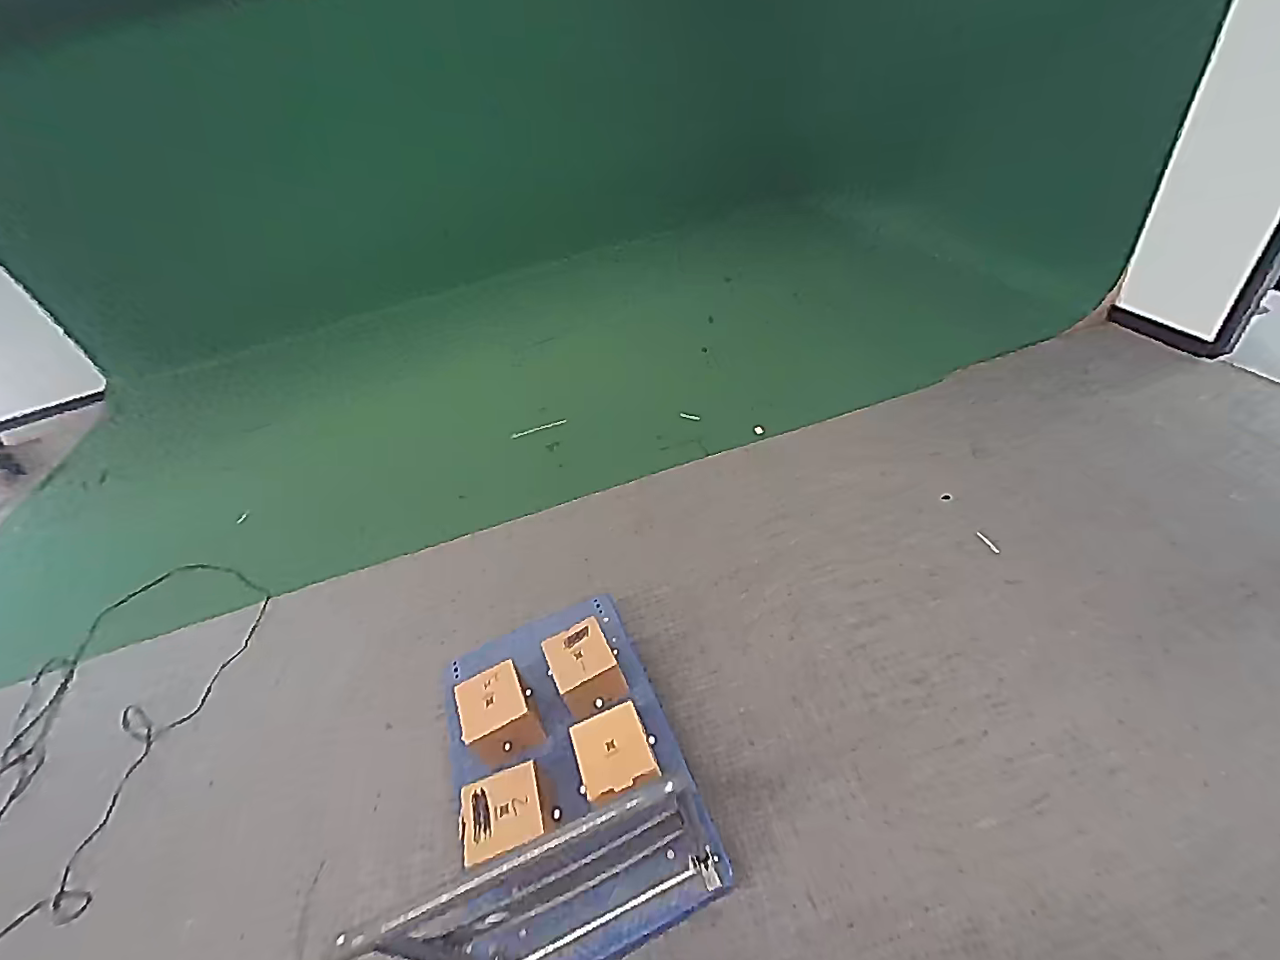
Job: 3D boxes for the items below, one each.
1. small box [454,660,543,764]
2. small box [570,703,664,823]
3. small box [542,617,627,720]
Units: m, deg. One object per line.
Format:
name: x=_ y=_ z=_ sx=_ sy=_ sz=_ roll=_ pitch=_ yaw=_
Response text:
small box: x=-0.376 y=0.627 z=1.446 sx=0.168 sy=0.176 sz=0.179 roll=-24 pitch=42 yaw=-12
small box: x=-0.054 y=0.680 z=1.301 sx=0.168 sy=0.176 sz=0.179 roll=-21 pitch=42 yaw=-9
small box: x=-0.152 y=0.523 z=1.498 sx=0.168 sy=0.176 sz=0.179 roll=-25 pitch=43 yaw=-11
